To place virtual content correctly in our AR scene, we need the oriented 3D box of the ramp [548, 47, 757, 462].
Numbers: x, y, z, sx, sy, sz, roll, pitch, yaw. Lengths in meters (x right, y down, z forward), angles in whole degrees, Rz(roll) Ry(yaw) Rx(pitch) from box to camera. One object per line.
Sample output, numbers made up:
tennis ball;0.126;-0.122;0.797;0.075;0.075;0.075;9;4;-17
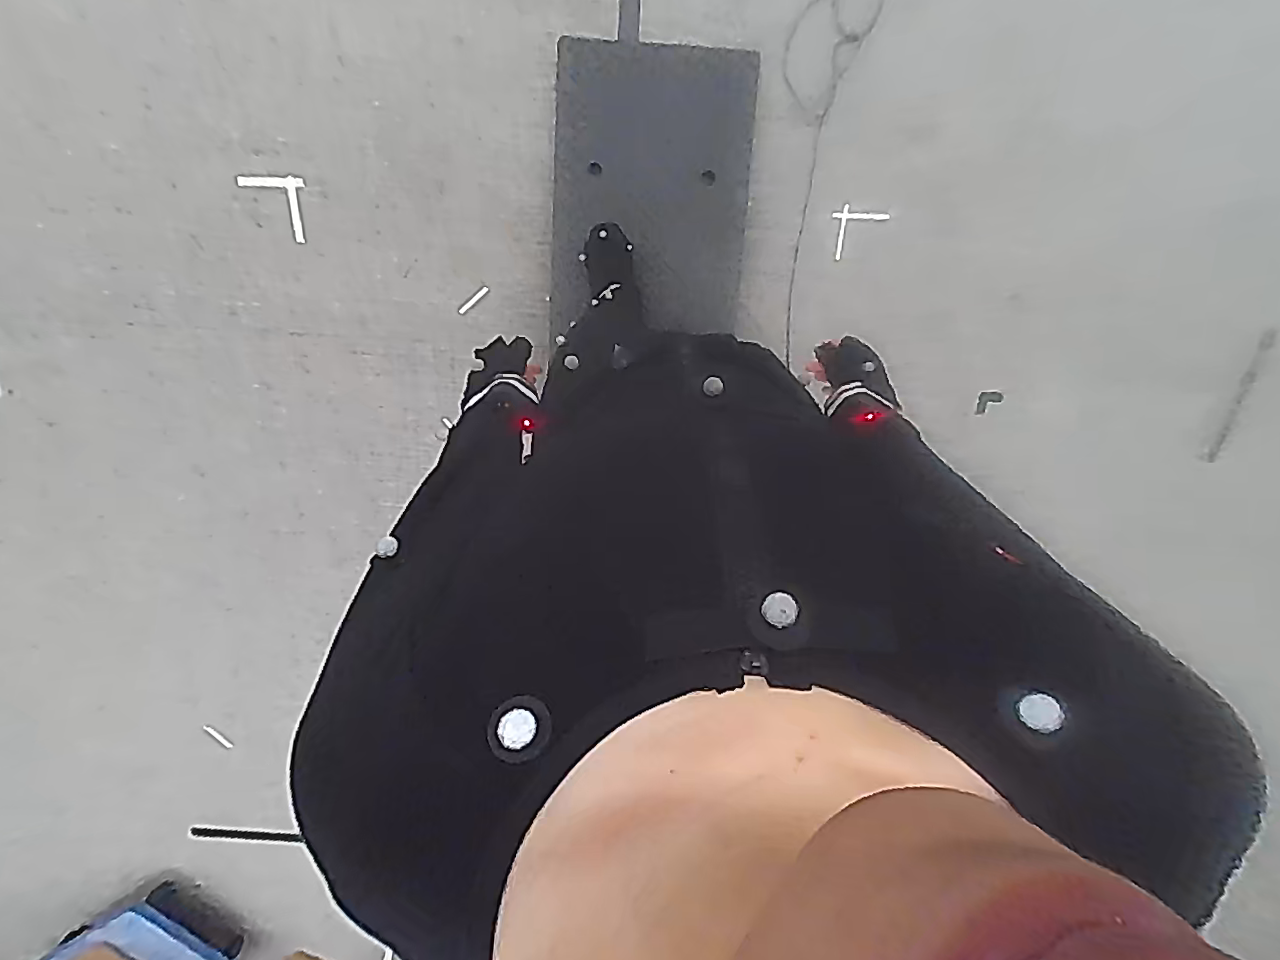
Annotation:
ramp;0.016;-0.550;1.396;0.509;0.206;0.991;2;109;1
